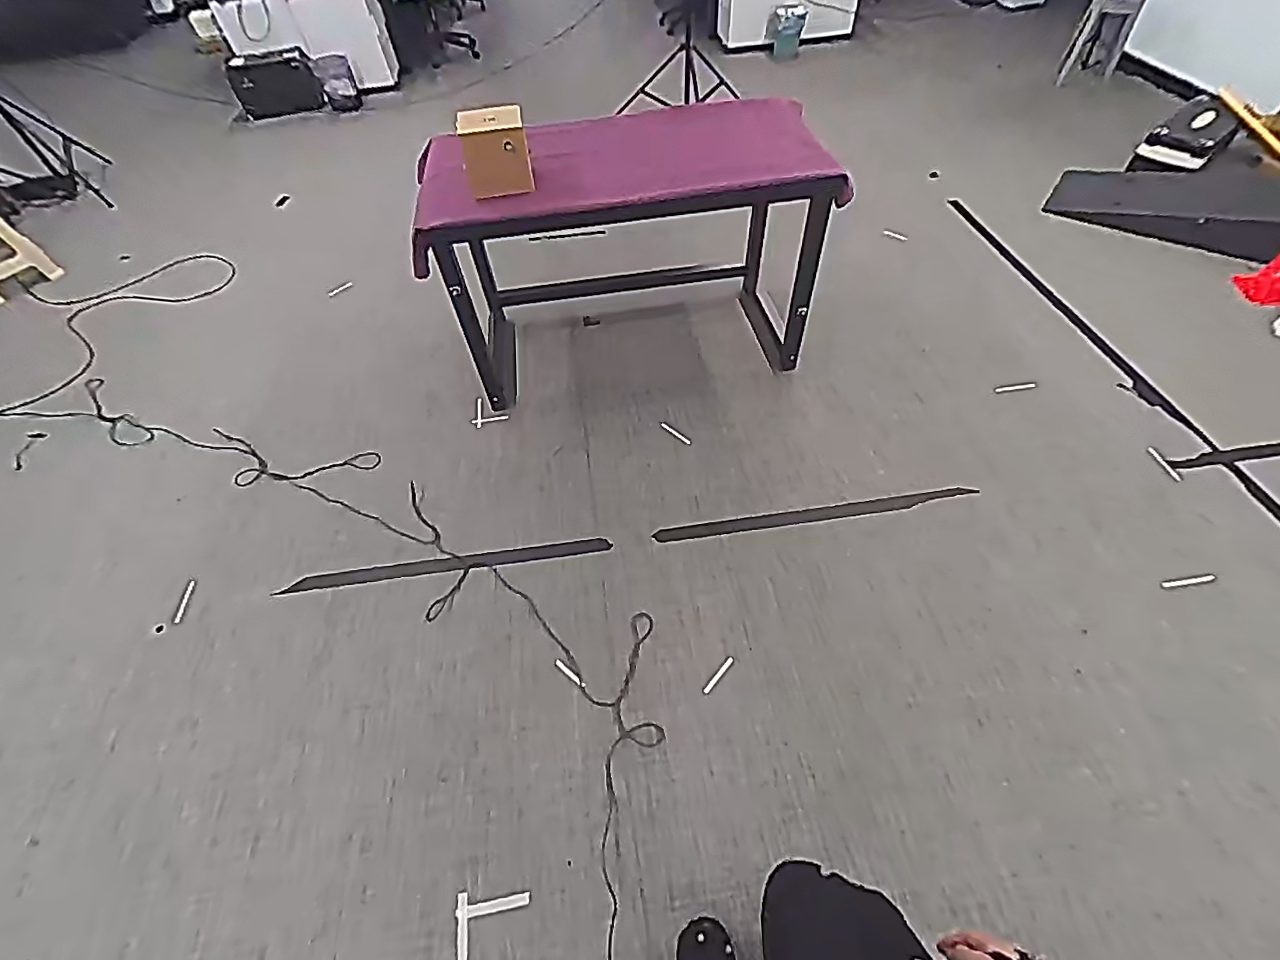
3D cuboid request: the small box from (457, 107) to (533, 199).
[{"bbox_3d":[-0.404,-0.922,1.529,0.179,0.176,0.168,-10,52,-4],"label":"small box"}]
